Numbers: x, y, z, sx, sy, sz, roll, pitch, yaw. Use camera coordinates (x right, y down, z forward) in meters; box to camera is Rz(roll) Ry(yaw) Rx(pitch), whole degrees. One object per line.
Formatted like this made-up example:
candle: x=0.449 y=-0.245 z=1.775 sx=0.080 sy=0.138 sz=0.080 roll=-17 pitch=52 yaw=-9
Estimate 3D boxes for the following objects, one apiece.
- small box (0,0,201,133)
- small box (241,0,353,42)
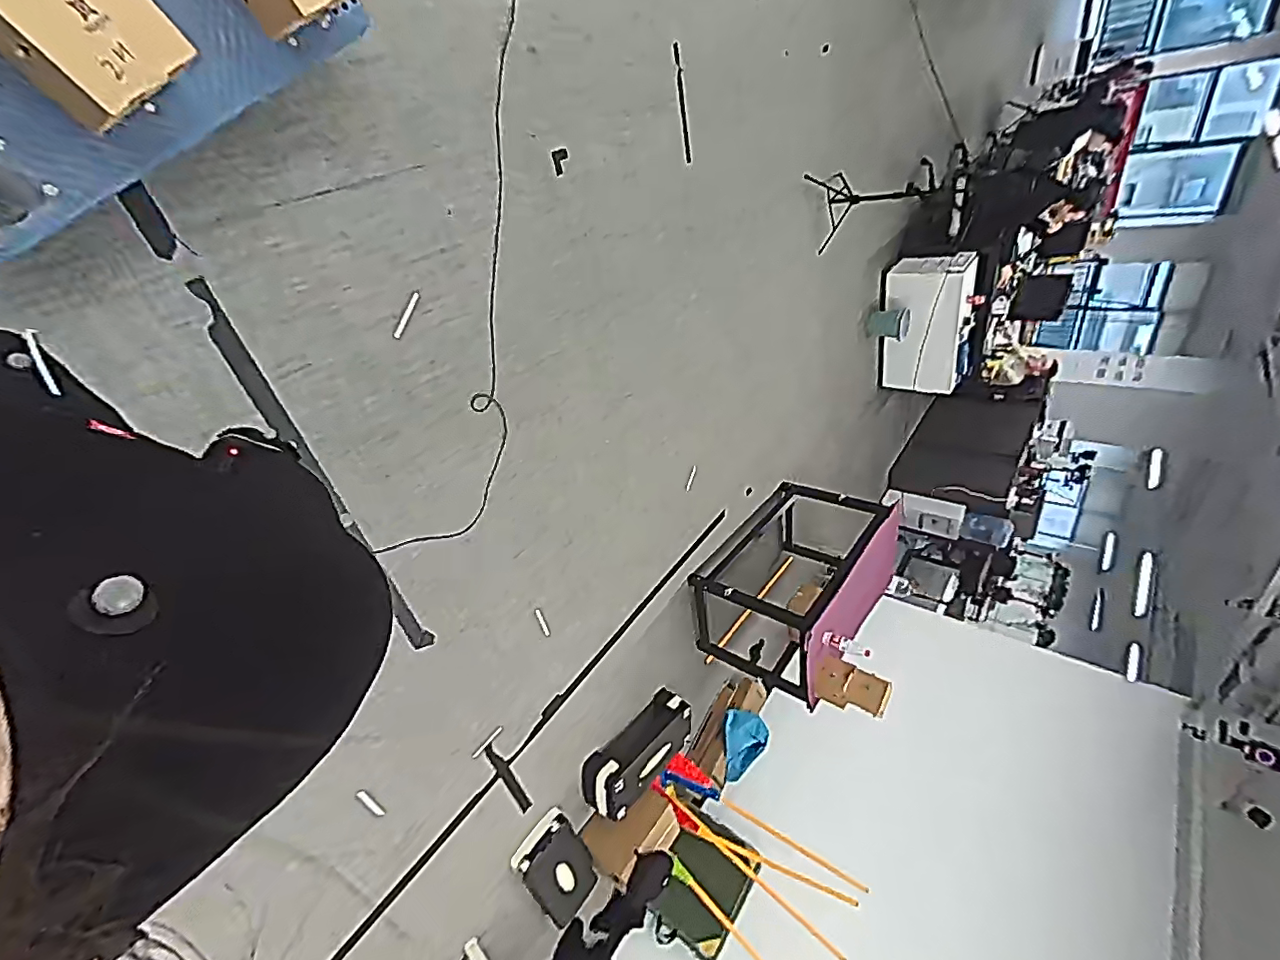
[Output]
small box: x=-0.802 y=-0.642 z=0.780 sx=0.168 sy=0.176 sz=0.179 roll=-58 pitch=140 yaw=-19
small box: x=-0.605 y=-0.904 z=0.933 sx=0.179 sy=0.176 sz=0.168 roll=-54 pitch=138 yaw=-22
